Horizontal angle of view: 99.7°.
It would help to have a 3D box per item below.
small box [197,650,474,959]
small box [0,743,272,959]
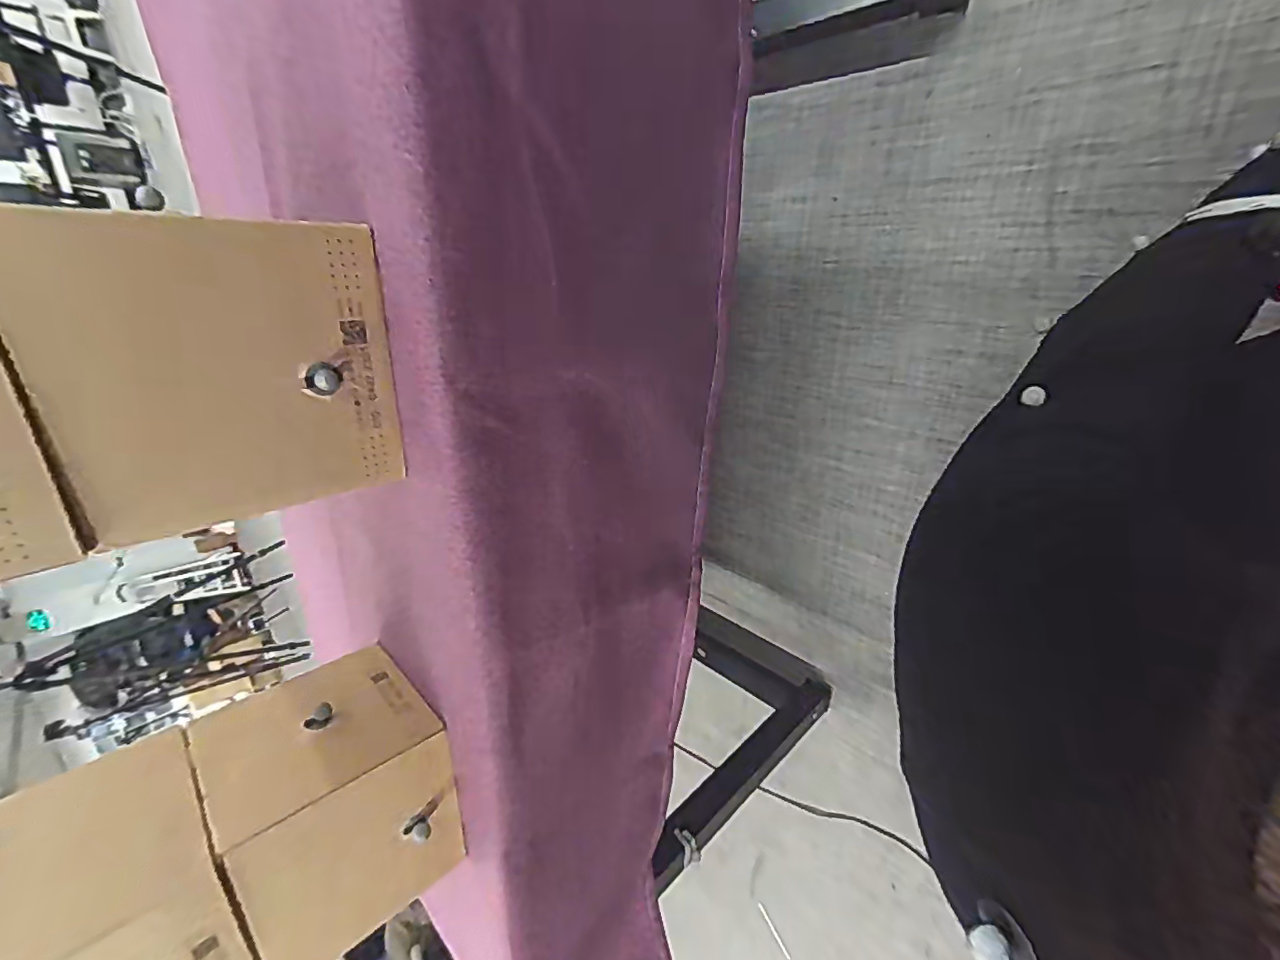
[{"bbox_3d":[-0.275,0.292,0.506,0.168,0.176,0.179,20,118,42],"label":"small box"},{"bbox_3d":[-0.395,0.333,0.400,0.179,0.176,0.168,21,120,40],"label":"small box"}]
